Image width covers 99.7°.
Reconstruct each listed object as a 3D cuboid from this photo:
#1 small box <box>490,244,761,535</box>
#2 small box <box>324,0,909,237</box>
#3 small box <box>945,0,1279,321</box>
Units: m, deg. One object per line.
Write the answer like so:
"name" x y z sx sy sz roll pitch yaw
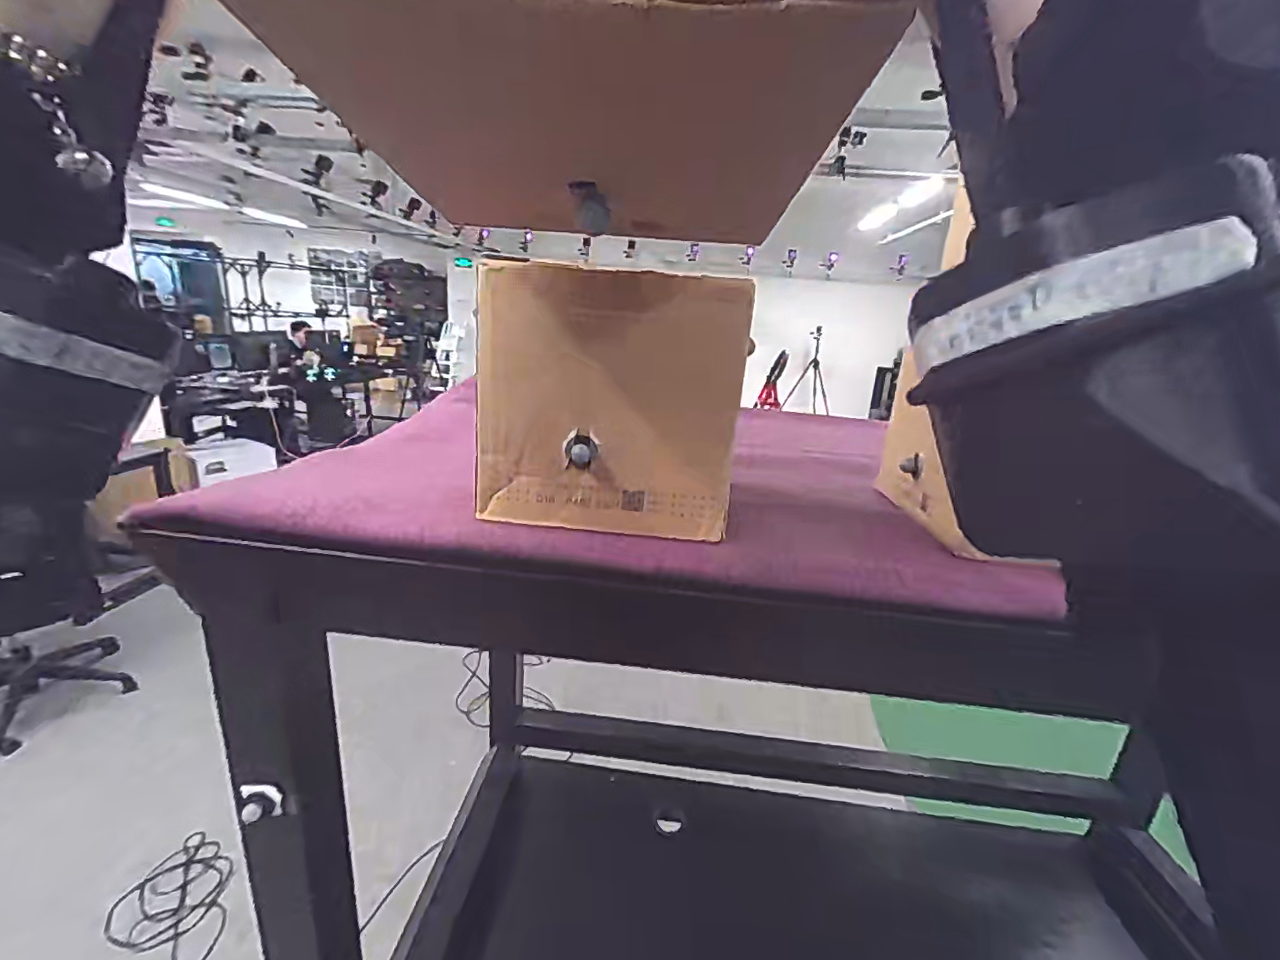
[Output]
"small box" -0.014 -0.071 0.417 0.168 0.176 0.179 5 15 1
"small box" -0.009 -0.211 0.192 0.168 0.179 0.176 4 6 1
"small box" 0.328 -0.199 0.353 0.168 0.176 0.179 6 17 8
